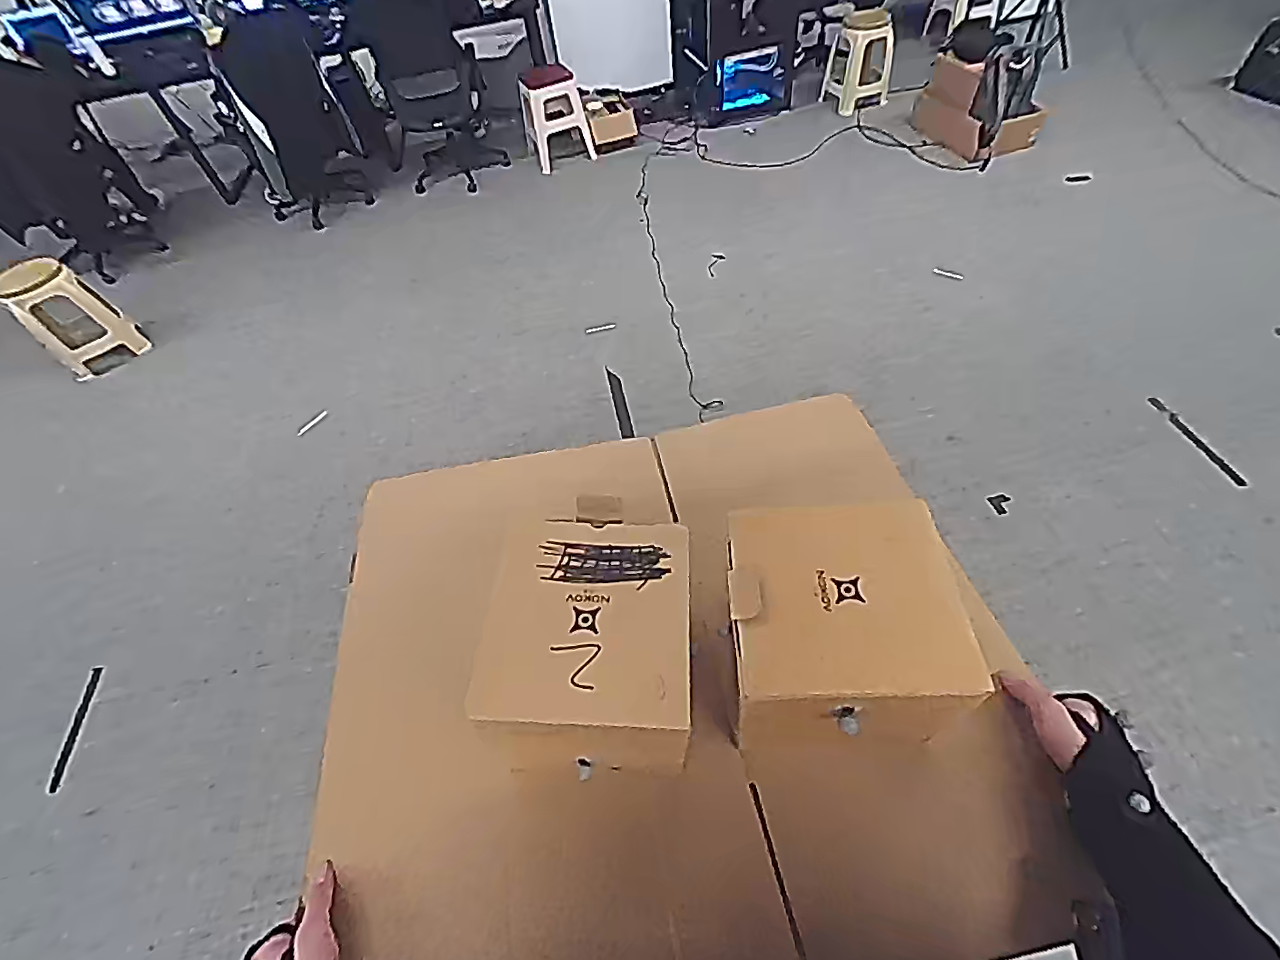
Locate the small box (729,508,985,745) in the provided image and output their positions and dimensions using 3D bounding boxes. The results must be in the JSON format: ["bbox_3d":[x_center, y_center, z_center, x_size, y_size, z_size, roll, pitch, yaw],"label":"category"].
[{"bbox_3d":[0.177,0.143,0.509,0.179,0.176,0.168,-5,52,7],"label":"small box"}]
